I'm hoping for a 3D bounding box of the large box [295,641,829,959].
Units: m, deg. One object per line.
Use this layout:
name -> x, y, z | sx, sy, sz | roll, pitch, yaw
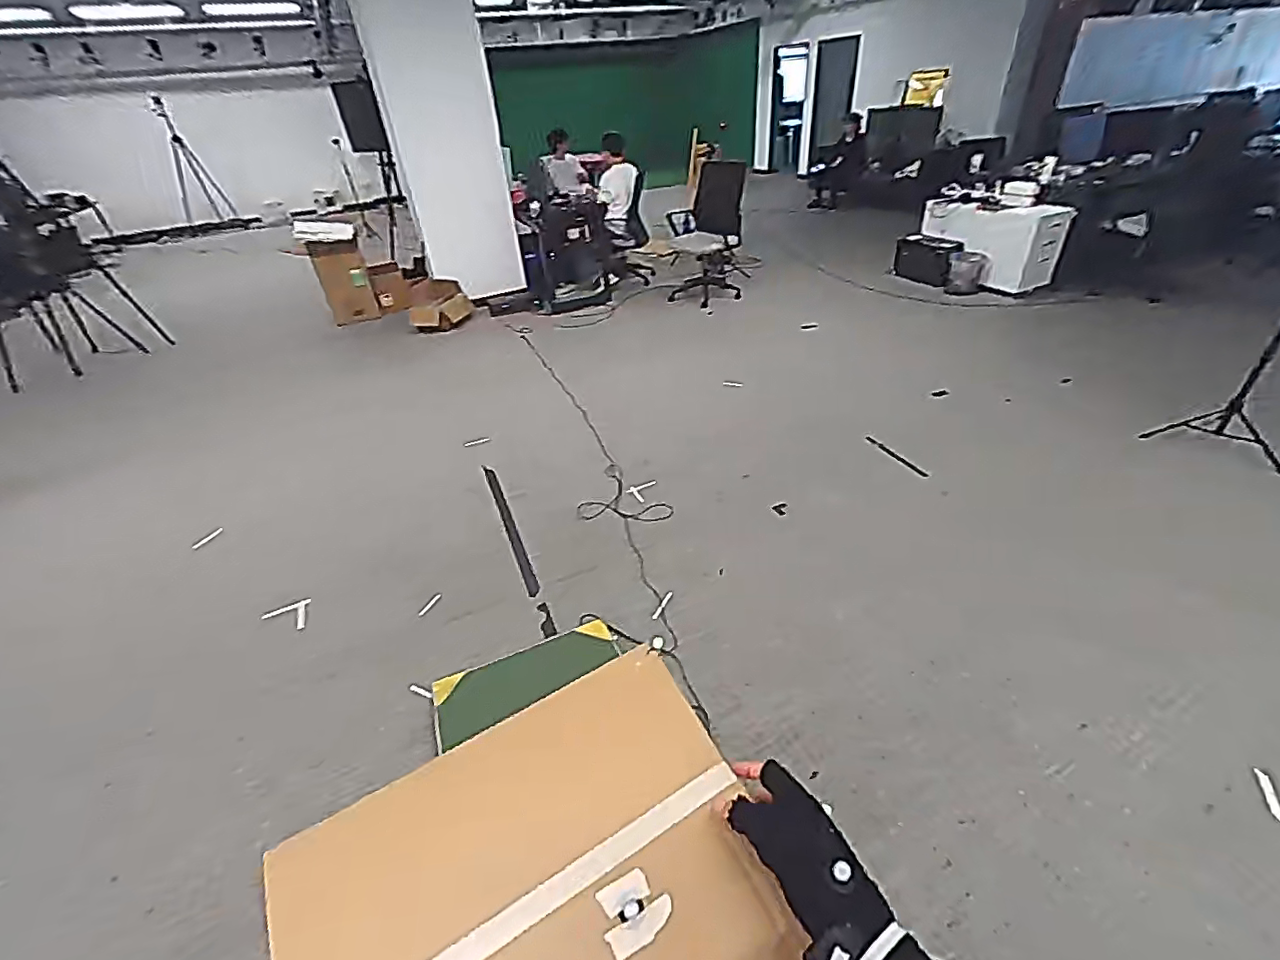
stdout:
large box -> -0.079, 0.462, 0.596 | 0.408, 0.320, 0.320 | -23, 53, -20
